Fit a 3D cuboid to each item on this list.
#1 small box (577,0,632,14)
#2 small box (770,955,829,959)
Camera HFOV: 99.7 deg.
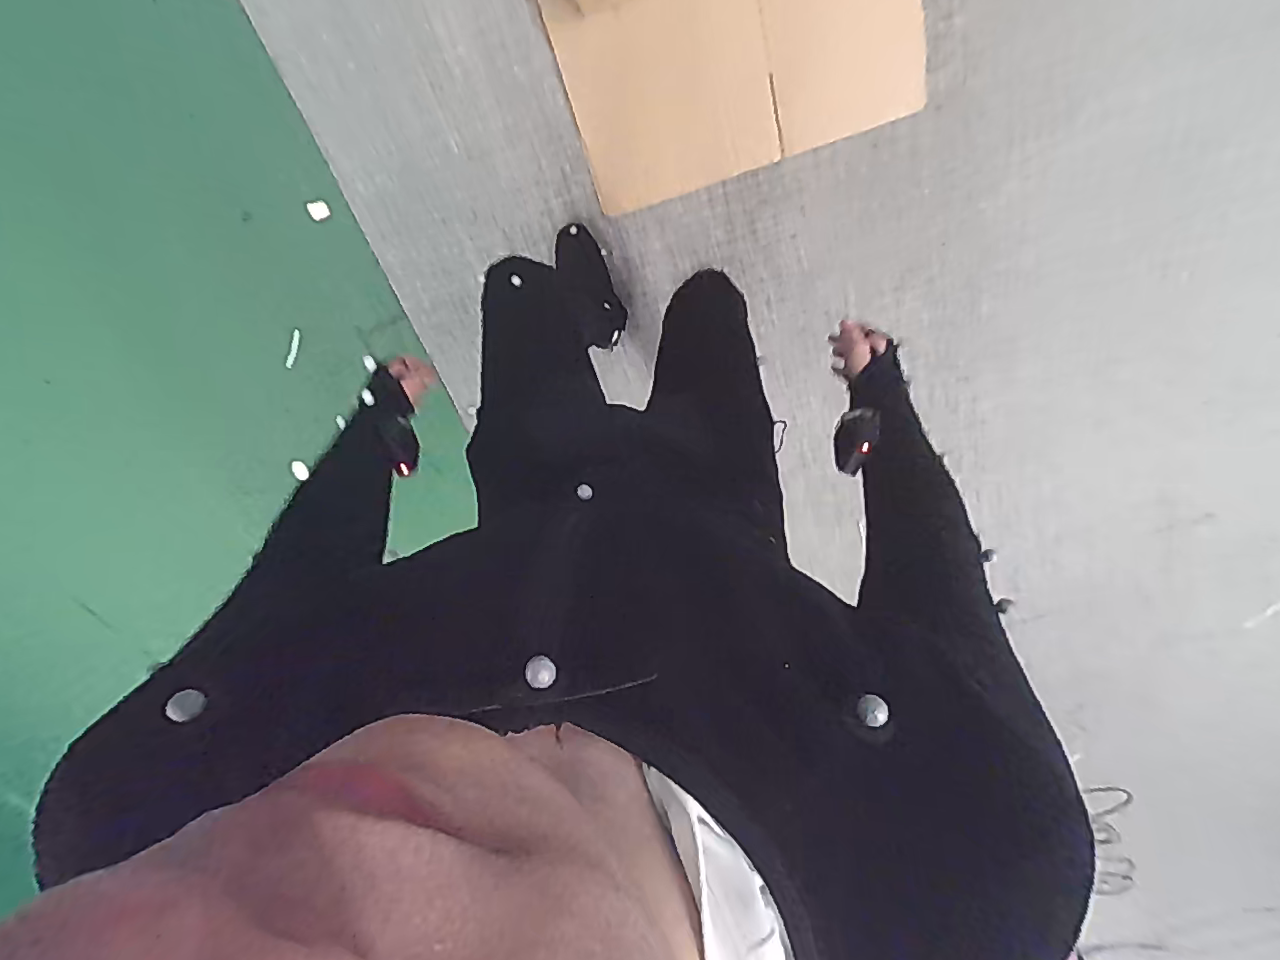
[{"bbox_3d":[-0.046,-0.937,0.920,0.179,0.176,0.168,-13,120,10],"label":"small box"},{"bbox_3d":[0.482,1.510,1.566,0.179,0.176,0.168,-9,120,9],"label":"small box"}]
